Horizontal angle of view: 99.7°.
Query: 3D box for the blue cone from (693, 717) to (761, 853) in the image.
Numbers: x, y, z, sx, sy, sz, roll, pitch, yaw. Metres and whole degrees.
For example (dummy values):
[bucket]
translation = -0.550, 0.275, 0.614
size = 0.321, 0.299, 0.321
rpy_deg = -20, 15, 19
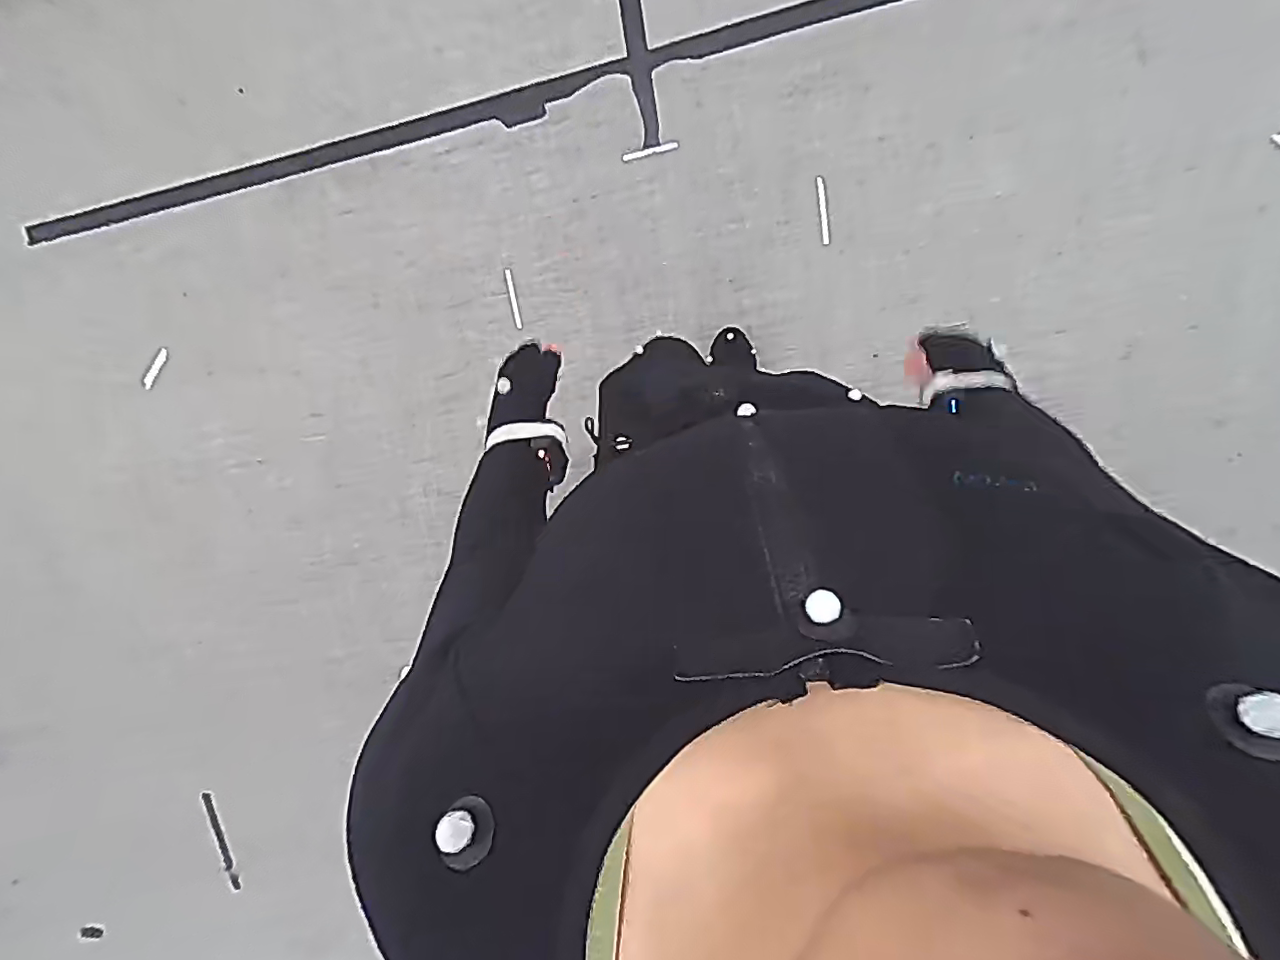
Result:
[blue cone]
translation = 0.243, 0.828, 1.447
size = 0.193, 0.380, 0.192
rpy_deg = -6, 102, 7
